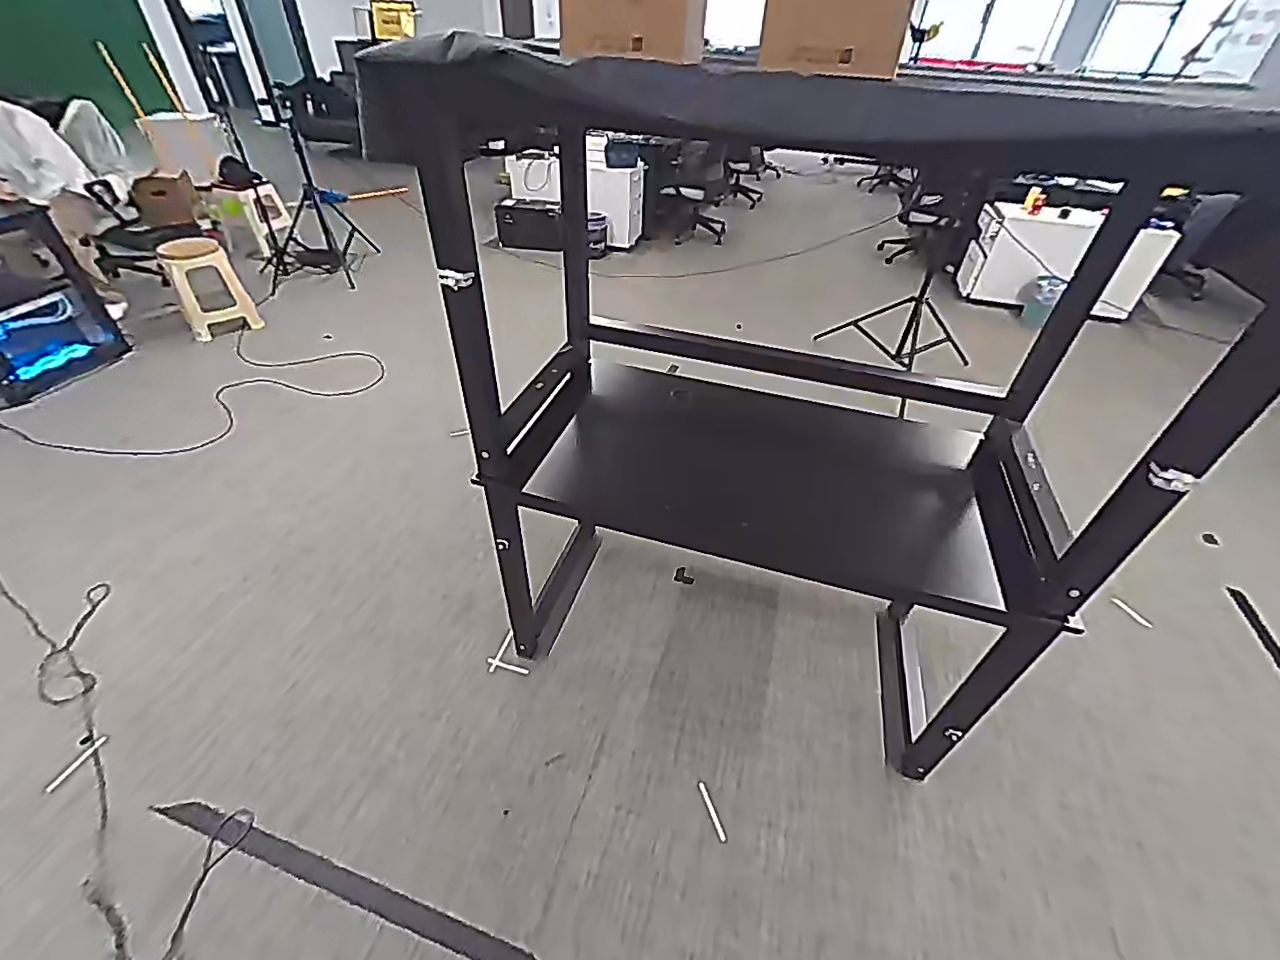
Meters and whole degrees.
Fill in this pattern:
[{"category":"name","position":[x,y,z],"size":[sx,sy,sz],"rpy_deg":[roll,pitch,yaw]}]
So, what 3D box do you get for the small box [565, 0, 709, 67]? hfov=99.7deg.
[{"category":"small box","position":[0.002,-0.652,0.707],"size":[0.168,0.176,0.179],"rpy_deg":[11,40,8]}]
